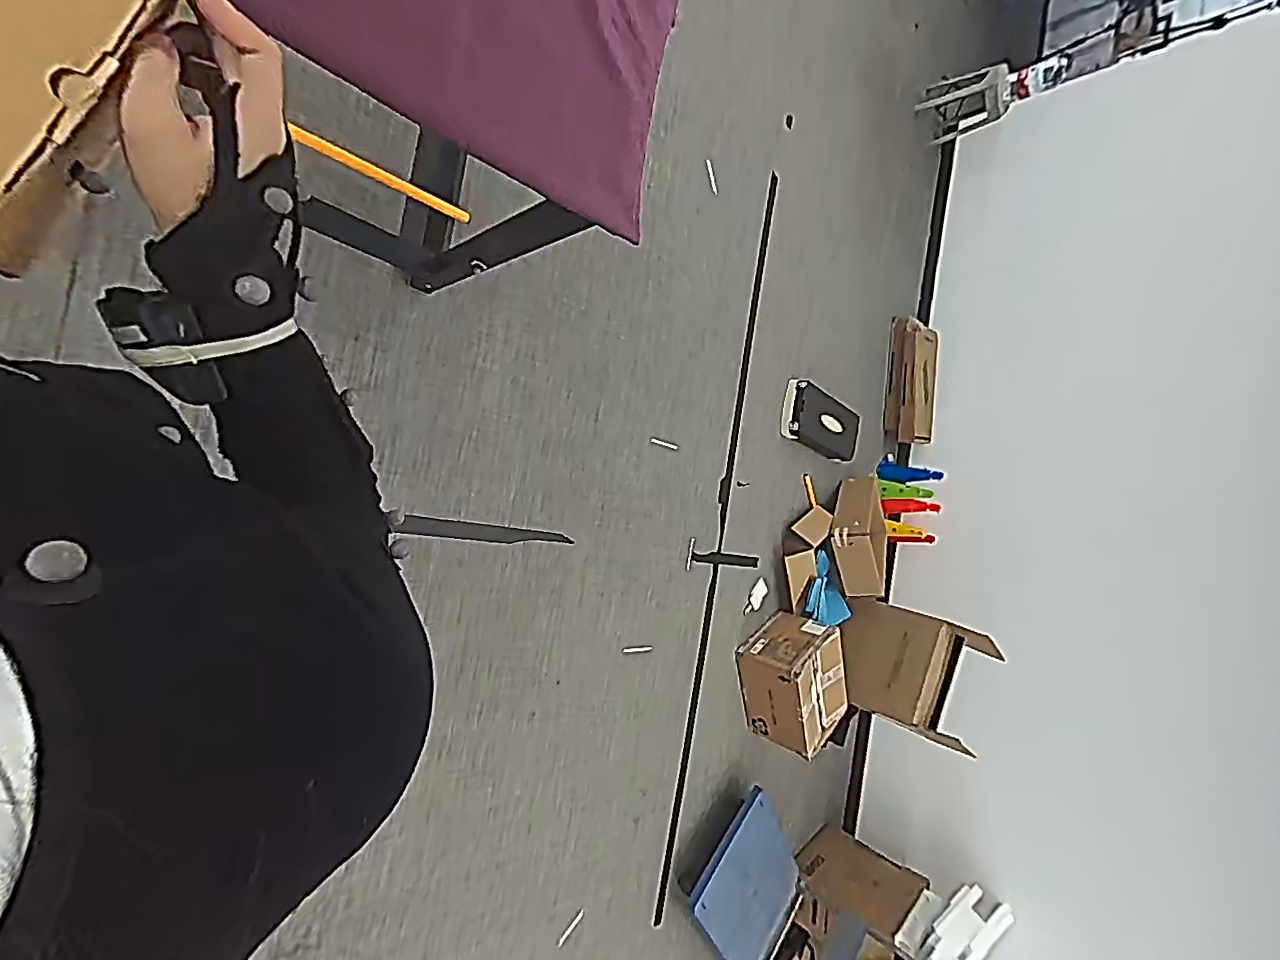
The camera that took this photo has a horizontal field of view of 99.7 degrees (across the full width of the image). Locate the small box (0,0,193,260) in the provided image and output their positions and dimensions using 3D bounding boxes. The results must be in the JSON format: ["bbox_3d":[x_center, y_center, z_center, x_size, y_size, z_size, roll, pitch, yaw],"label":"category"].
[{"bbox_3d":[-0.341,-0.214,0.229,0.179,0.176,0.168,35,77,-46],"label":"small box"}]
